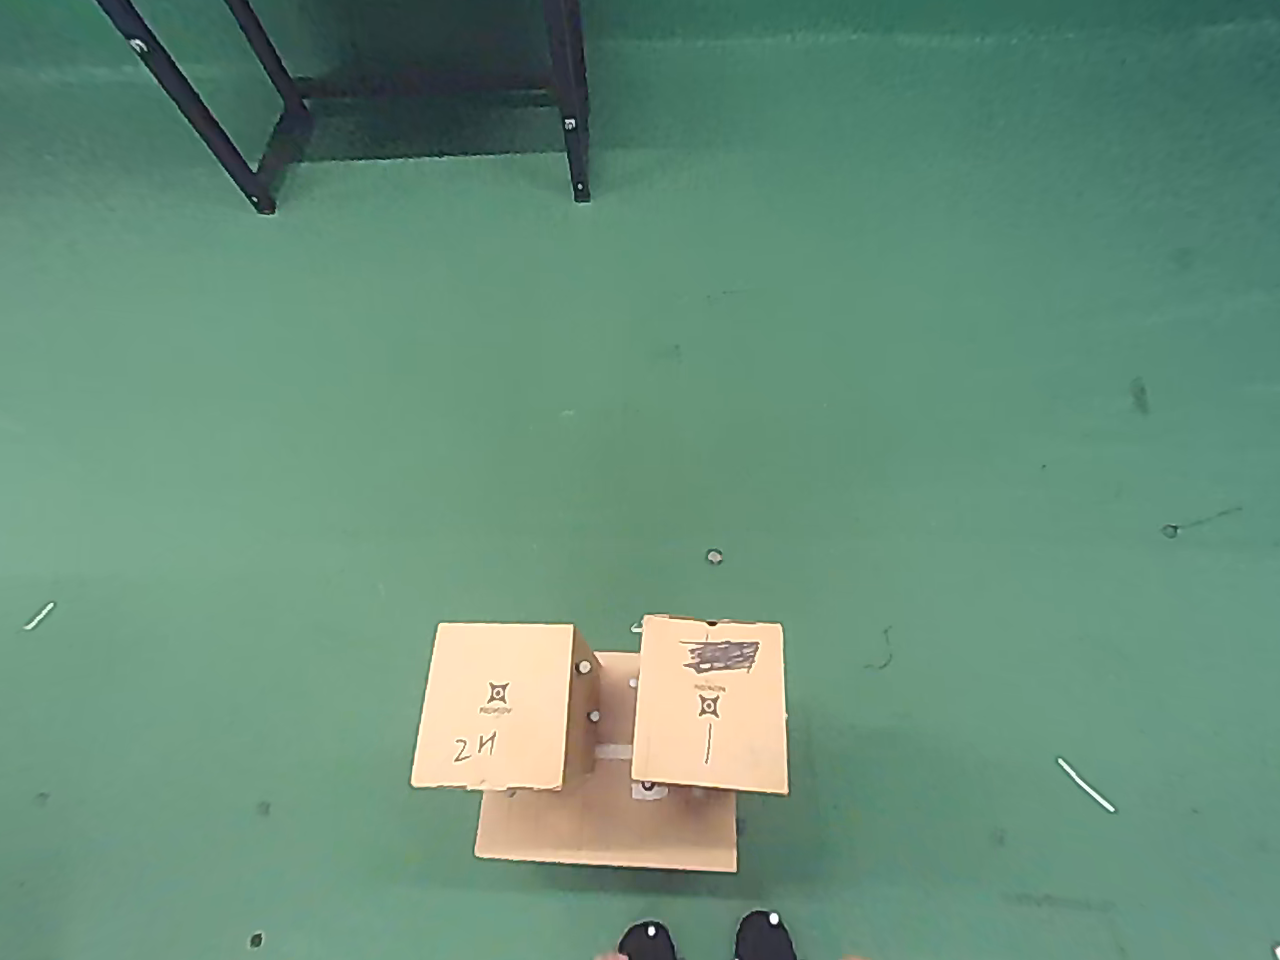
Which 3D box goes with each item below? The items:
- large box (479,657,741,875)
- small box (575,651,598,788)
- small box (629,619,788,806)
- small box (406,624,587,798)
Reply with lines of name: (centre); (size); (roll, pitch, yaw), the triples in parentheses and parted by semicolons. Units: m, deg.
large box: (-0.041, 0.515, 1.006); (0.408, 0.320, 0.320); (1, 64, 3)
small box: (-0.156, 0.360, 0.819); (0.168, 0.176, 0.179); (2, 63, 3)
small box: (0.081, 0.281, 0.659); (0.168, 0.176, 0.179); (3, 64, 6)
small box: (-0.160, 0.287, 0.671); (0.168, 0.176, 0.179); (0, 63, 3)
